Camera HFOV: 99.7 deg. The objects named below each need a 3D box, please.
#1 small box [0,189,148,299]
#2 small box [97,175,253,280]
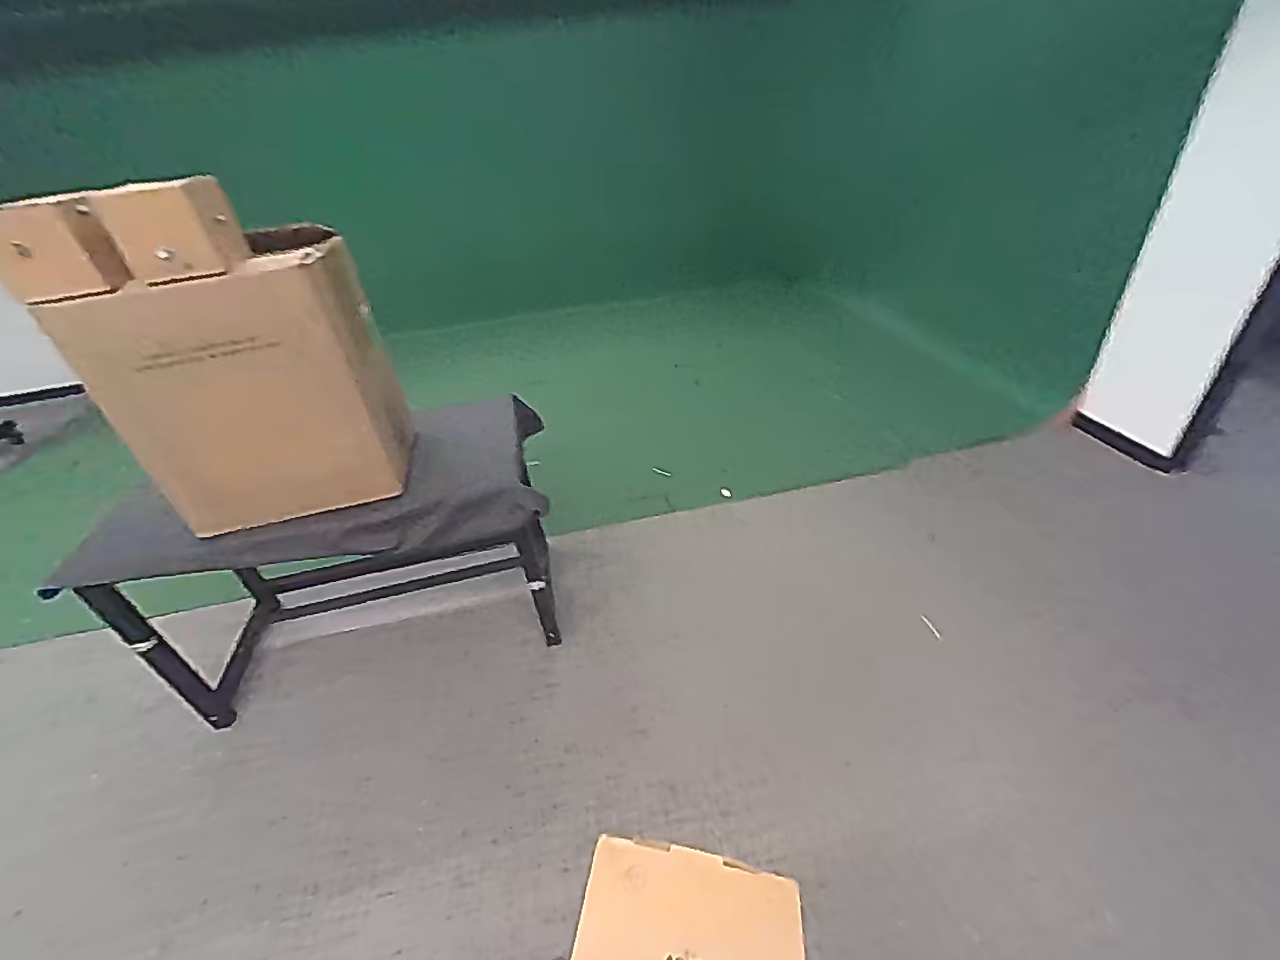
[{"bbox_3d":[-1.177,-0.484,1.112,0.179,0.176,0.168,-12,37,-7],"label":"small box"},{"bbox_3d":[-0.966,-0.537,1.148,0.168,0.176,0.179,-11,37,-8],"label":"small box"}]
